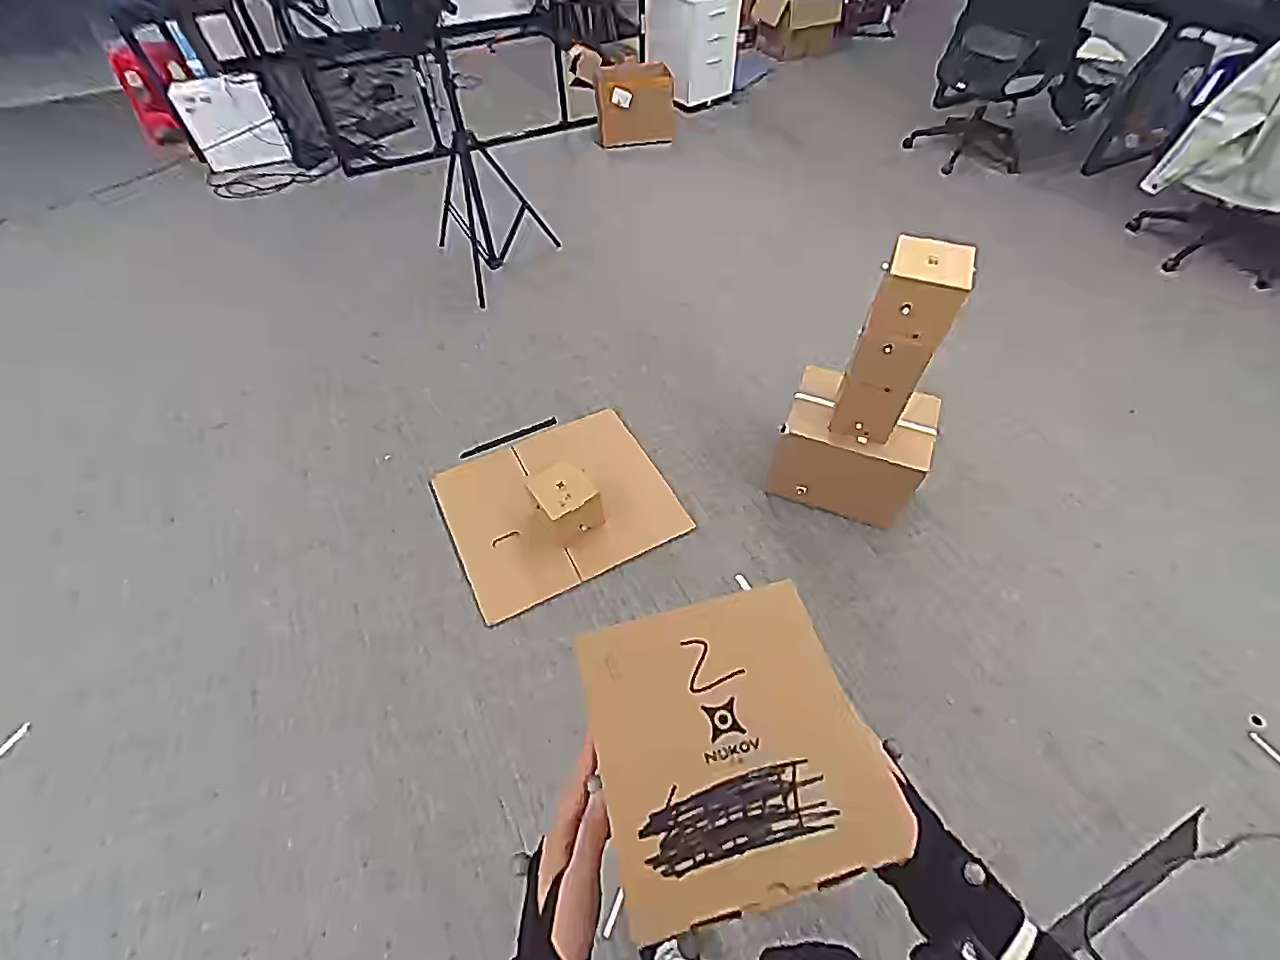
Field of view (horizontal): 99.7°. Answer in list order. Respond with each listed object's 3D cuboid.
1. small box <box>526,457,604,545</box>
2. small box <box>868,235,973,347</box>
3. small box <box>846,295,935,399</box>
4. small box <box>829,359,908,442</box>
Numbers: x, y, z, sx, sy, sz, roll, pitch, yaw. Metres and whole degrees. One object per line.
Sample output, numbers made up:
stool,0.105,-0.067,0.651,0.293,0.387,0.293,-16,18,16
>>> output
small box,-0.227,0.068,1.675,0.168,0.176,0.179,-32,59,-18
small box,0.644,-0.435,1.253,0.168,0.176,0.179,18,55,14
small box,0.643,-0.340,1.386,0.168,0.176,0.179,18,55,14
small box,0.645,-0.239,1.516,0.168,0.176,0.179,18,56,14
